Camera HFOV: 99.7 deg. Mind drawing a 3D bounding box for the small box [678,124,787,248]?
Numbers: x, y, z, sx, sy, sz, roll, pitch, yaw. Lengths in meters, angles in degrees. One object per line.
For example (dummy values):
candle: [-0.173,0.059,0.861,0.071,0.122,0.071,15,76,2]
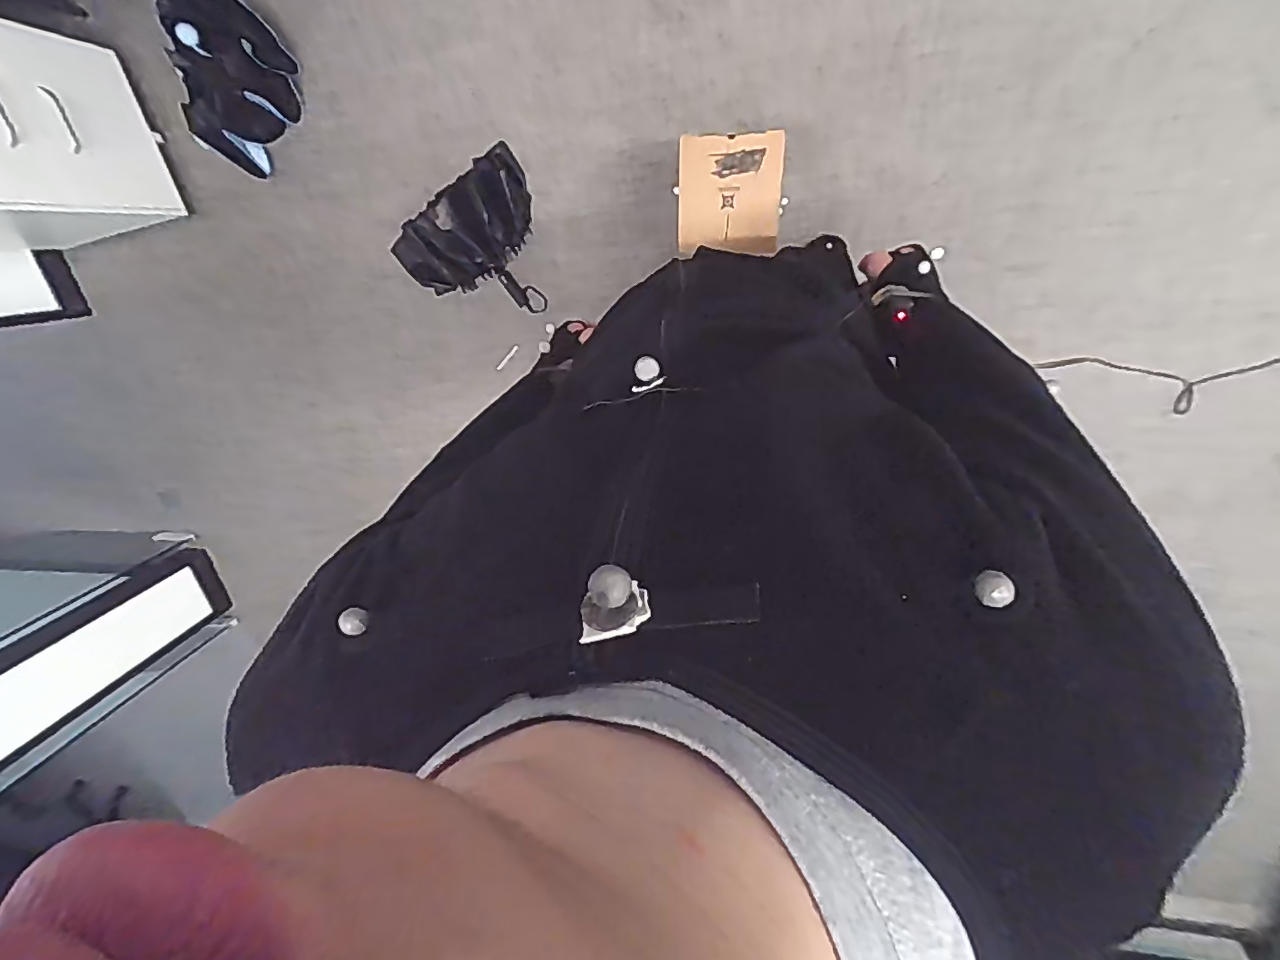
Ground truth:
small box: [0.160,-0.505,0.946,0.168,0.176,0.179,4,116,10]
